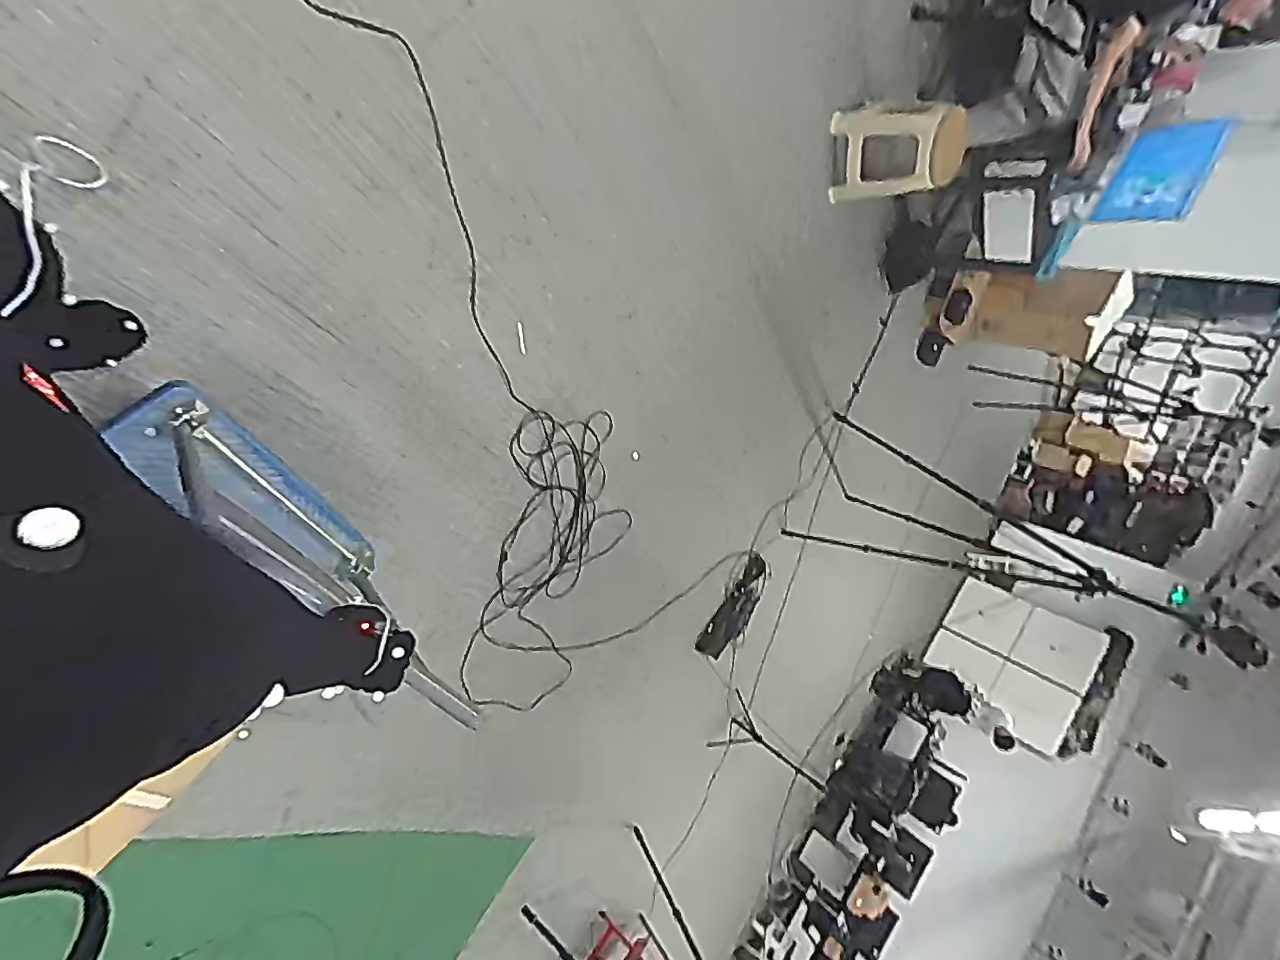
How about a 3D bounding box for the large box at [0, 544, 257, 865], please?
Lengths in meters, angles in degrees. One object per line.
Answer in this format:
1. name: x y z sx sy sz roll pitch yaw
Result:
1. large box: -0.982 0.376 0.914 0.320 0.320 0.408 -49 139 -18
